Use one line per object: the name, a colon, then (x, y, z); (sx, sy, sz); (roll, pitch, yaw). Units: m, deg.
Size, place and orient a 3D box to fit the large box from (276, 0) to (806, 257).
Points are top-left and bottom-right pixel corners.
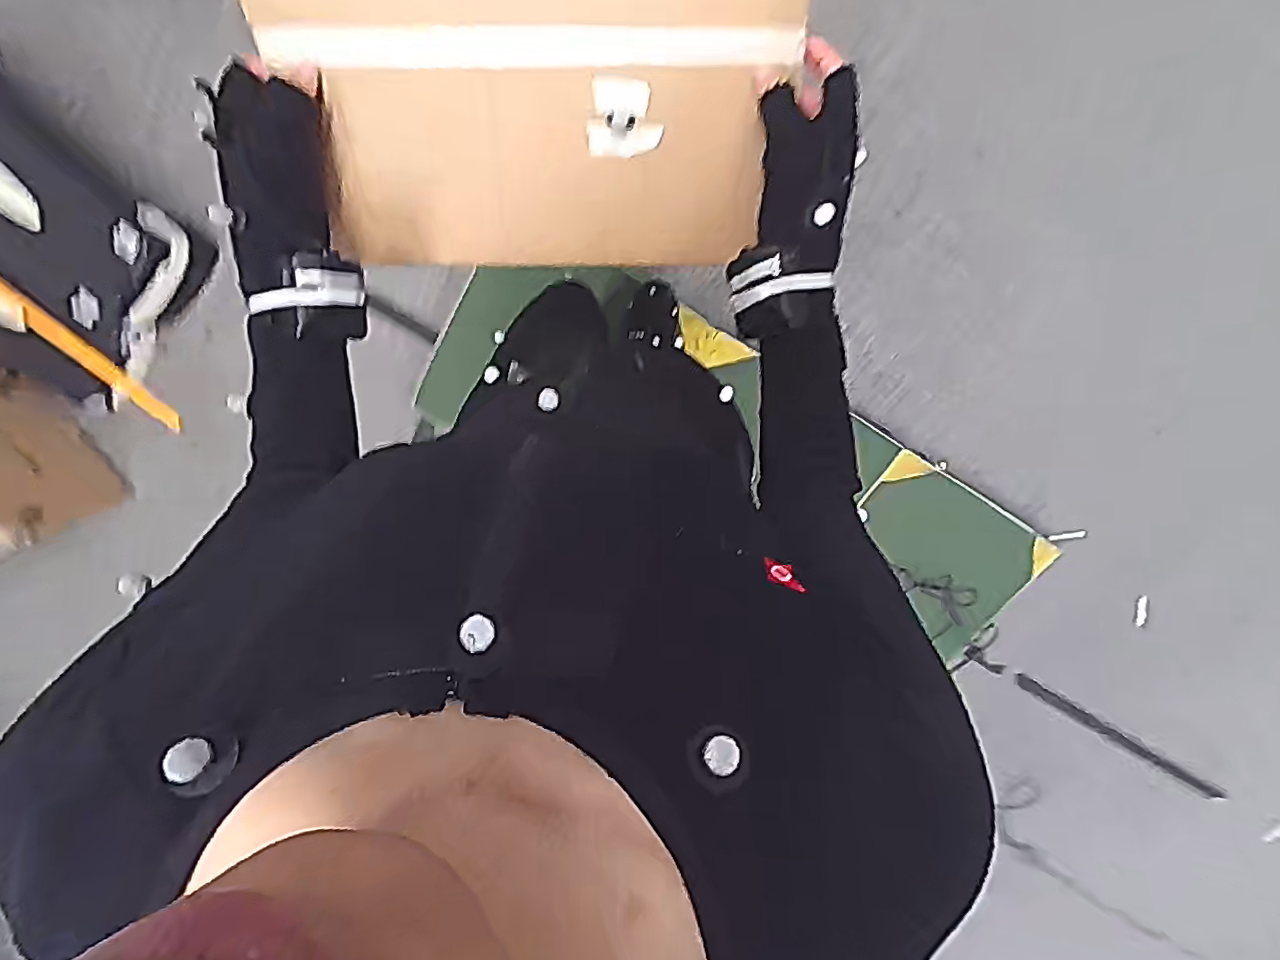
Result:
large box: (-0.077, -0.420, 0.540); (0.408, 0.320, 0.320); (0, 125, -1)
